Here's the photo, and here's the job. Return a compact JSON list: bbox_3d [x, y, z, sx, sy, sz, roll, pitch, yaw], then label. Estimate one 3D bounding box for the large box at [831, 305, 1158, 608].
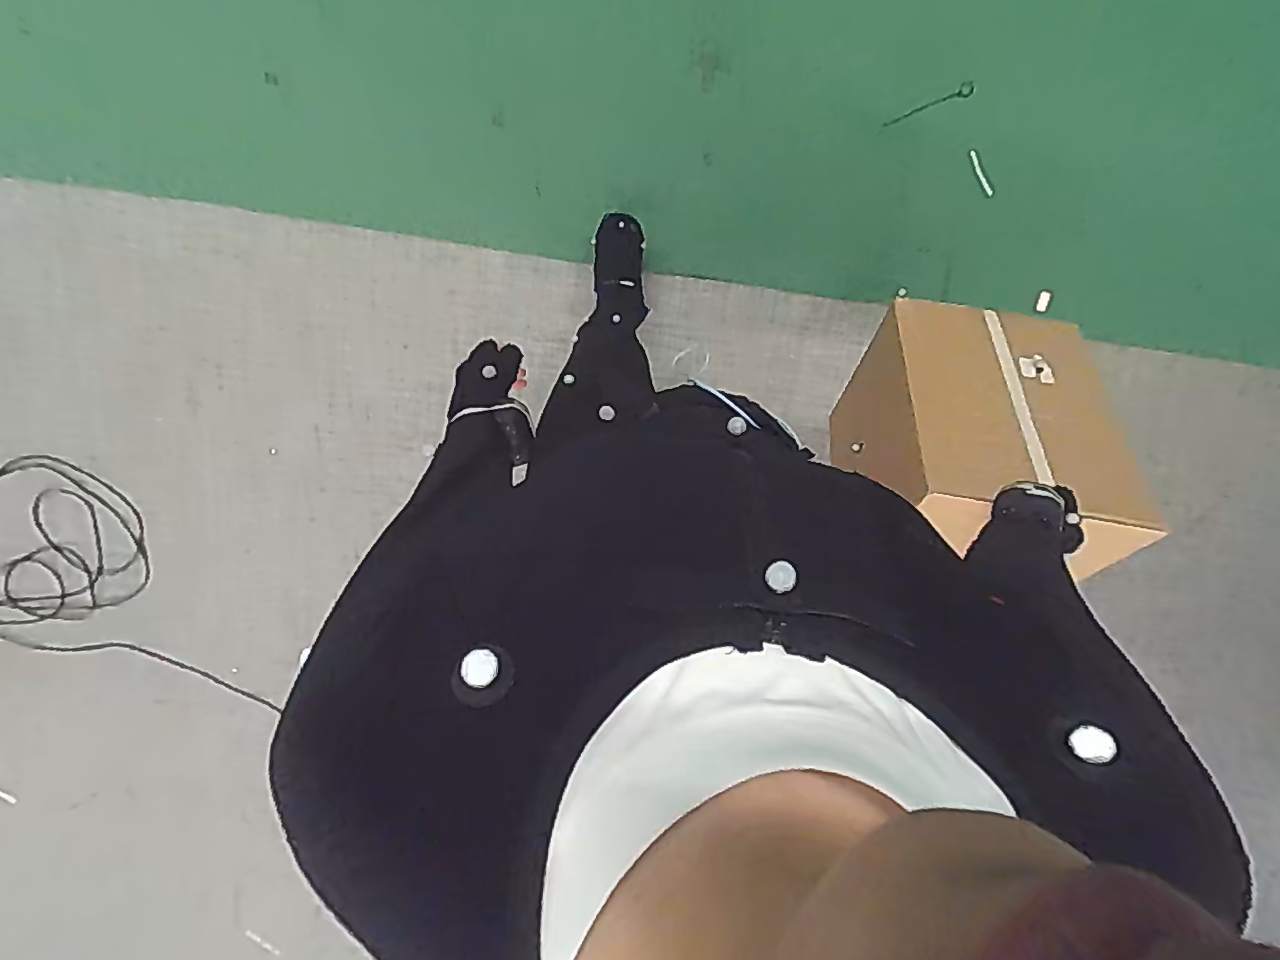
[{"bbox_3d":[0.542,-0.036,0.938,0.320,0.408,0.320,10,145,1],"label":"large box"}]
